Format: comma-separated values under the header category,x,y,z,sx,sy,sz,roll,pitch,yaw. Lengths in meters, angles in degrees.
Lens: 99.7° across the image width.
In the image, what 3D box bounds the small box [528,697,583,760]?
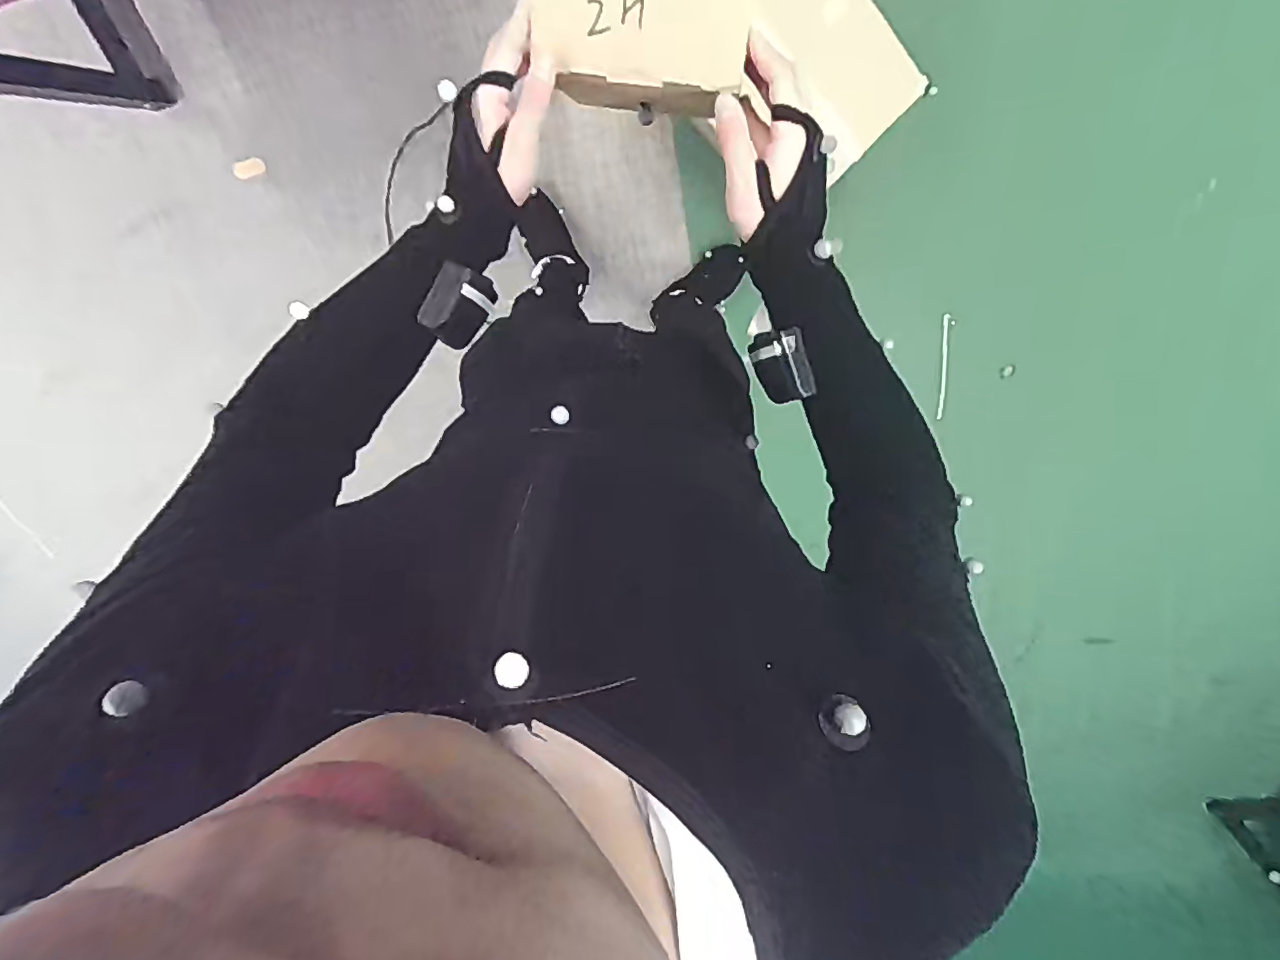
category,x,y,z,sx,sy,sz,roll,pitch,yaw
small box,-0.337,1.010,2.198,0.168,0.176,0.179,-4,118,8

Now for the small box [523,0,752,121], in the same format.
category,x,y,z,sx,sy,sz,roll,pitch,yaw
small box,0.011,-0.418,0.442,0.168,0.176,0.179,9,117,4

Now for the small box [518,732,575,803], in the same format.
category,x,y,z,sx,sy,sz,roll,pitch,yaw
small box,-0.350,1.095,2.060,0.168,0.176,0.179,-1,119,6
